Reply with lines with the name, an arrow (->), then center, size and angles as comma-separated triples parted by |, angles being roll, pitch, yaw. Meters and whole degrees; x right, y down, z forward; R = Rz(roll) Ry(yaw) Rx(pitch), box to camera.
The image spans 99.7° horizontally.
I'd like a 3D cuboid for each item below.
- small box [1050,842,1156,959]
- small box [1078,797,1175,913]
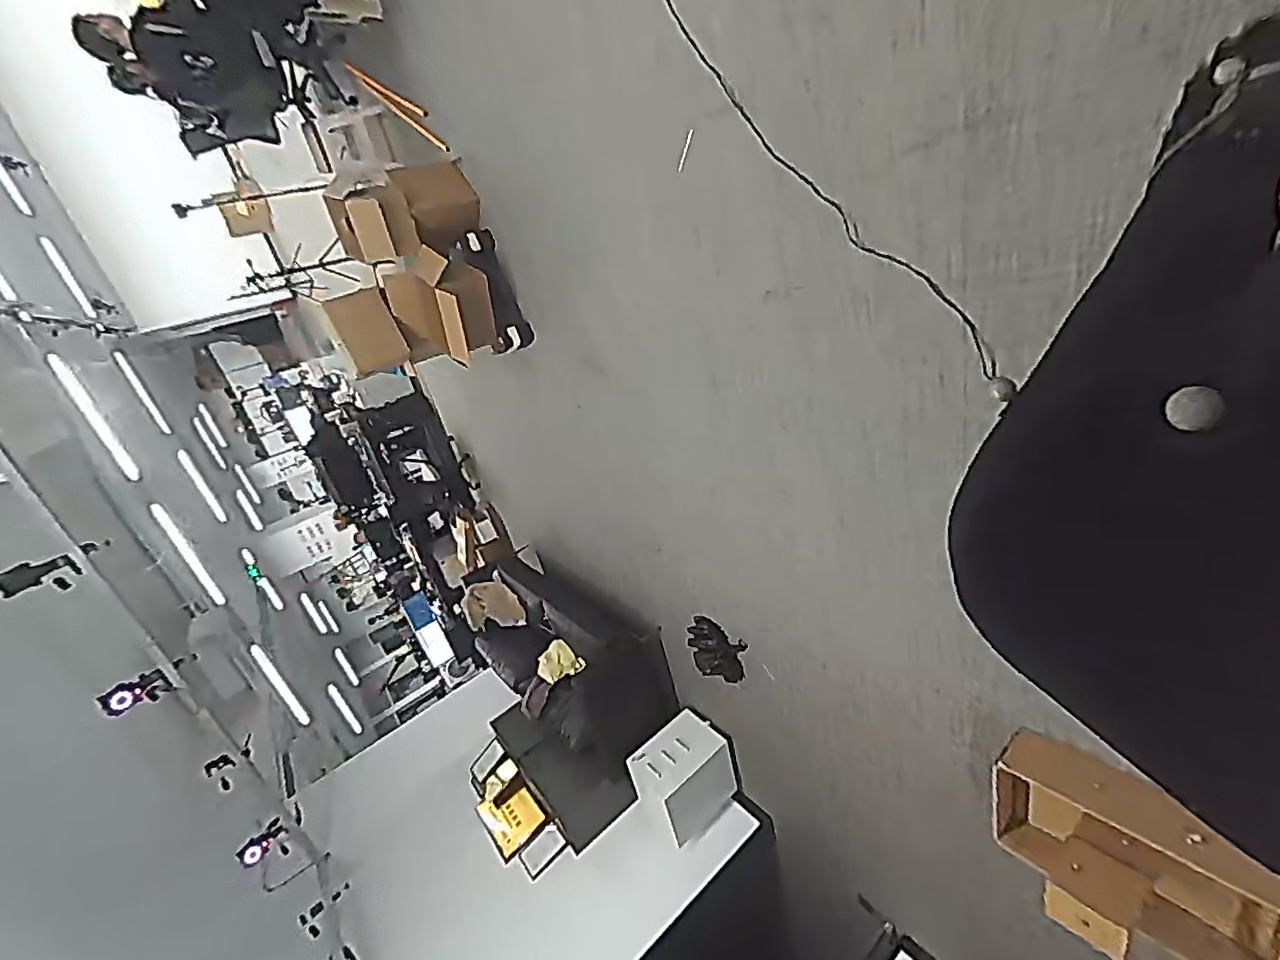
small box -> 1.233, 1.116, 1.444 | 0.179, 0.176, 0.168 | 11, 126, 55
small box -> 1.379, 1.053, 1.534 | 0.179, 0.176, 0.168 | 14, 128, 53
